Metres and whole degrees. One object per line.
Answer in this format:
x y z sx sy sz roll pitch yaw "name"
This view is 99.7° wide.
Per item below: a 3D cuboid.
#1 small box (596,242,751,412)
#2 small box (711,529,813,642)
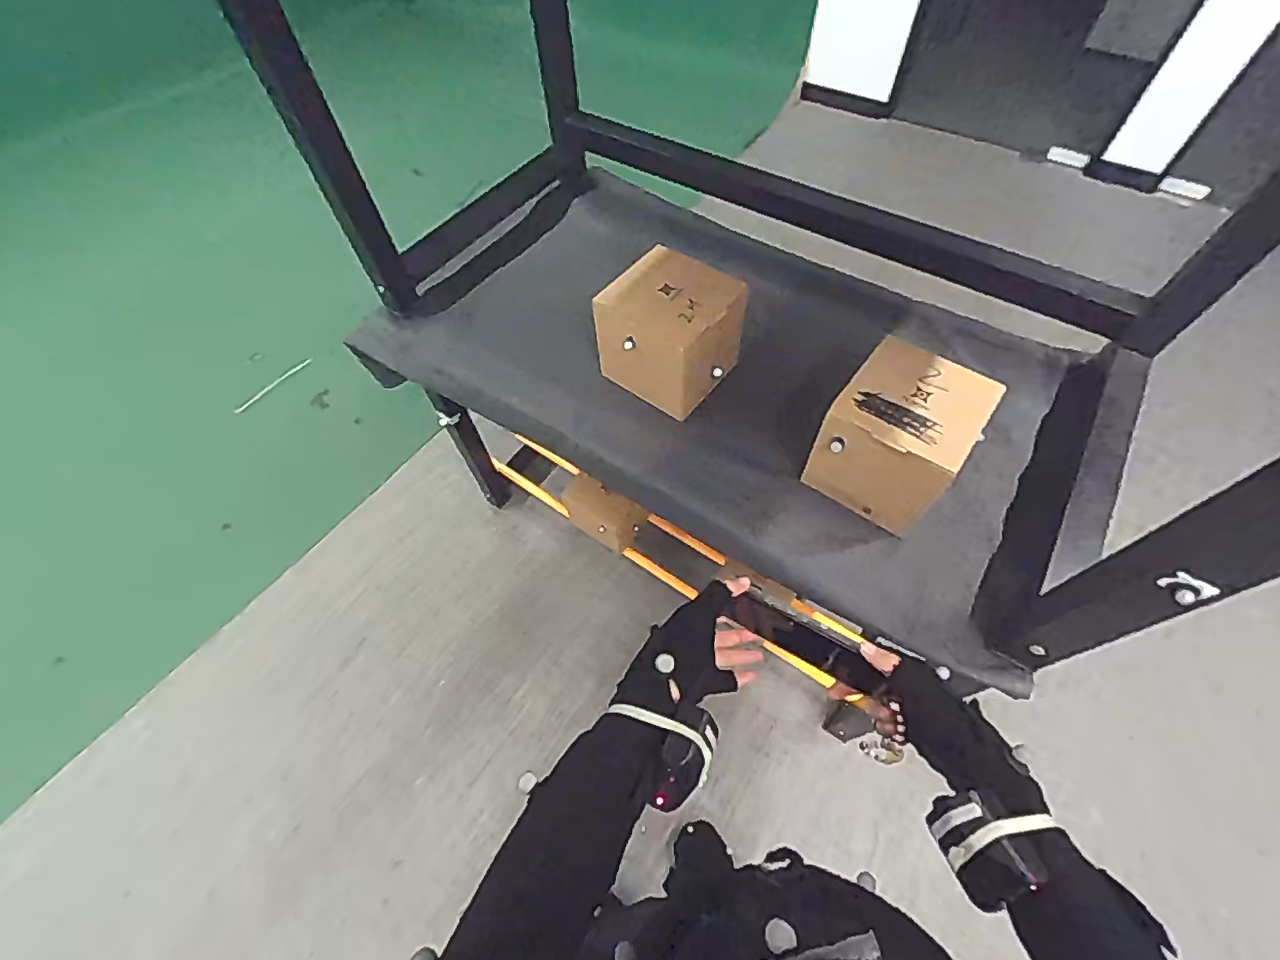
0.052 -0.240 0.869 0.179 0.176 0.168 34 66 21 "small box"
0.282 0.256 1.285 0.168 0.176 0.179 34 66 21 "small box"
